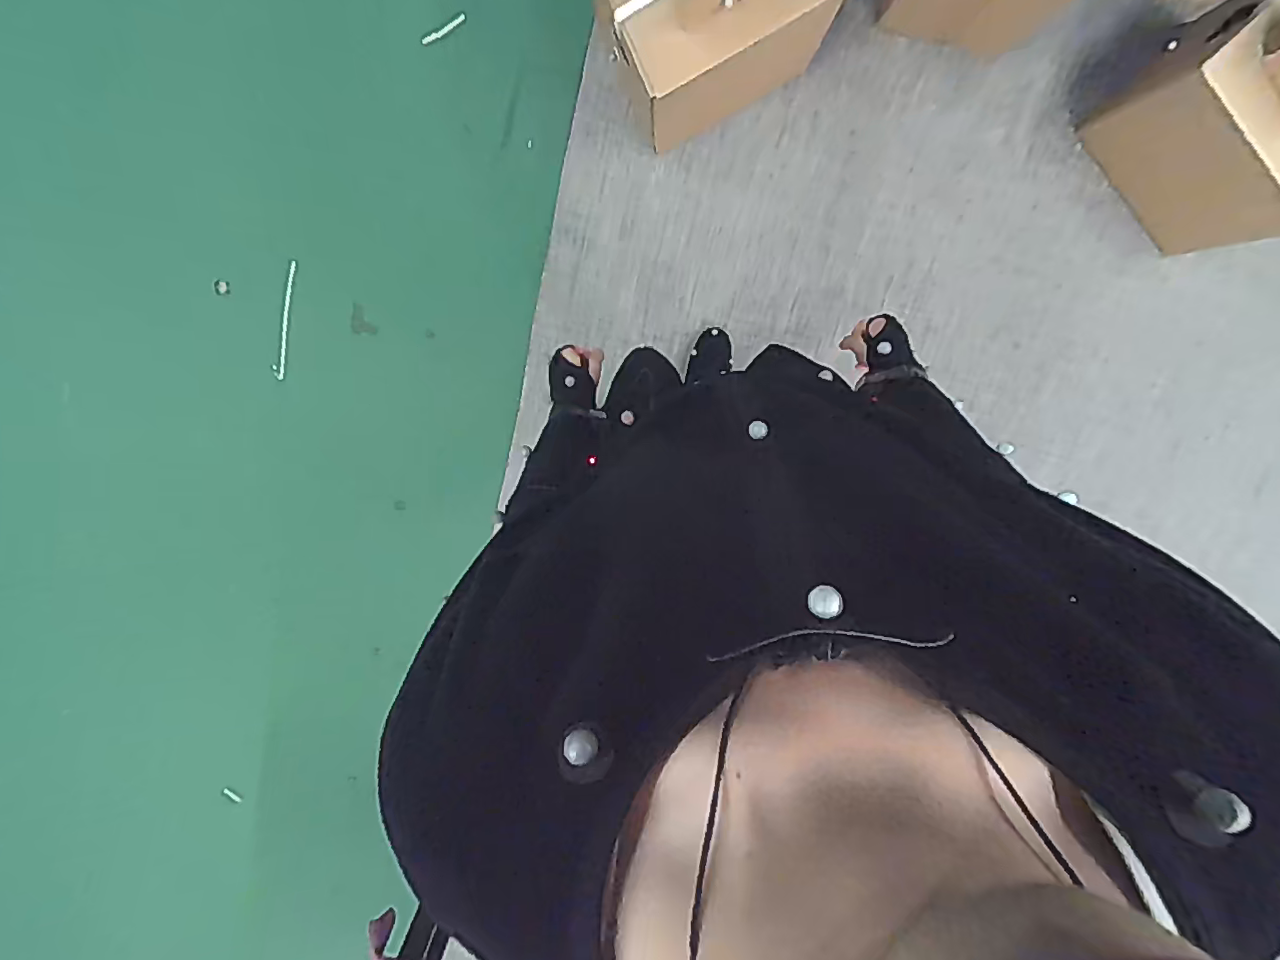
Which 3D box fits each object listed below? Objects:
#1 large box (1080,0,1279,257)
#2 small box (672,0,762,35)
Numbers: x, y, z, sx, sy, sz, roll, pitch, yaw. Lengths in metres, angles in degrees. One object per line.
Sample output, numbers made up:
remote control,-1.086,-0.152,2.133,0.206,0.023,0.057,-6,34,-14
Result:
large box,1.273,-0.748,1.134,0.408,0.320,0.320,44,101,-9
small box,0.122,-0.902,0.892,0.168,0.176,0.179,-22,102,8
